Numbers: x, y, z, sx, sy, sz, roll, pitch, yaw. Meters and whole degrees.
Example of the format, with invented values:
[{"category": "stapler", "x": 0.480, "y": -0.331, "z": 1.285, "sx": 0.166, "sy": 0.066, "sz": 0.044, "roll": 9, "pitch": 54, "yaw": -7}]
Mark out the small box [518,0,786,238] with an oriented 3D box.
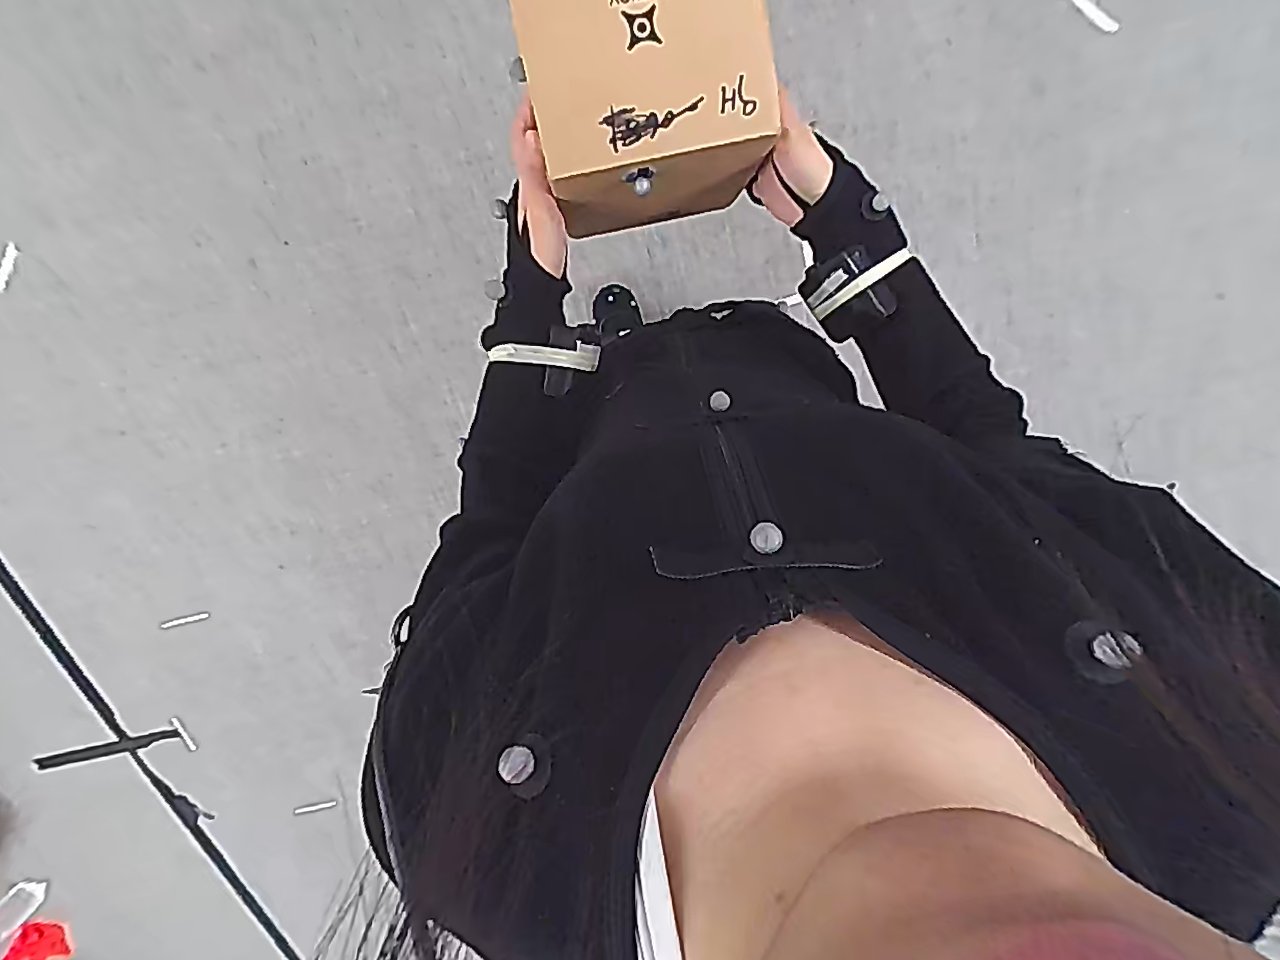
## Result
[{"category": "small box", "x": 0.000, "y": -0.317, "z": 0.430, "sx": 0.168, "sy": 0.176, "sz": 0.179, "roll": -12, "pitch": 101, "yaw": -1}]
